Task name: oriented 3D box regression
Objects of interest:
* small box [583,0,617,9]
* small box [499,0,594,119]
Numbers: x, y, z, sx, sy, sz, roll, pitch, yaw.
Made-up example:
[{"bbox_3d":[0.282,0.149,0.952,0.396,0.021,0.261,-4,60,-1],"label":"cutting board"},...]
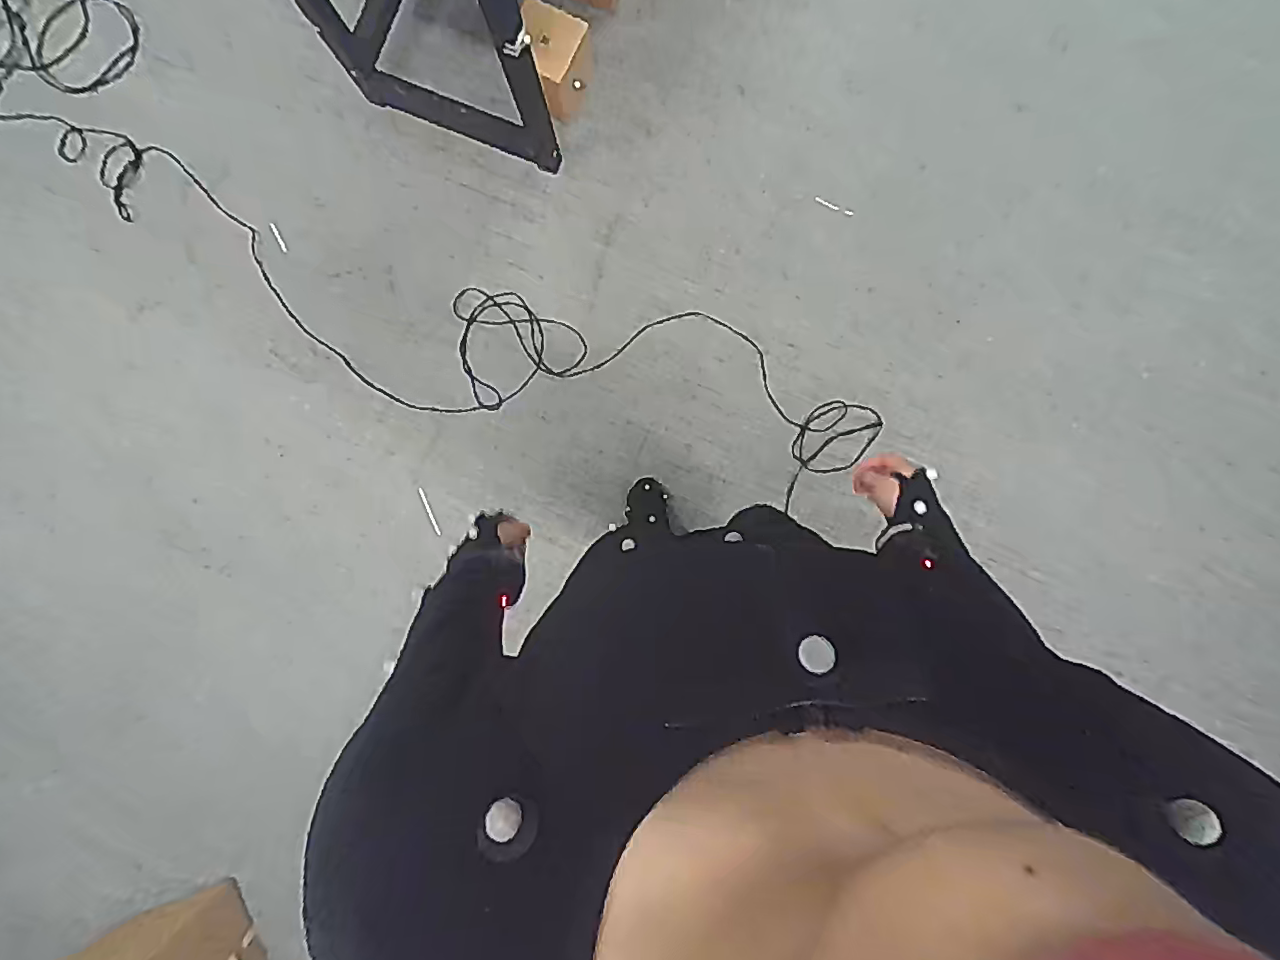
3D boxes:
[{"bbox_3d":[-0.123,-1.391,1.408,0.179,0.176,0.168,20,90,2],"label":"small box"},{"bbox_3d":[-0.234,-1.092,1.413,0.179,0.176,0.168,27,91,2],"label":"small box"}]
